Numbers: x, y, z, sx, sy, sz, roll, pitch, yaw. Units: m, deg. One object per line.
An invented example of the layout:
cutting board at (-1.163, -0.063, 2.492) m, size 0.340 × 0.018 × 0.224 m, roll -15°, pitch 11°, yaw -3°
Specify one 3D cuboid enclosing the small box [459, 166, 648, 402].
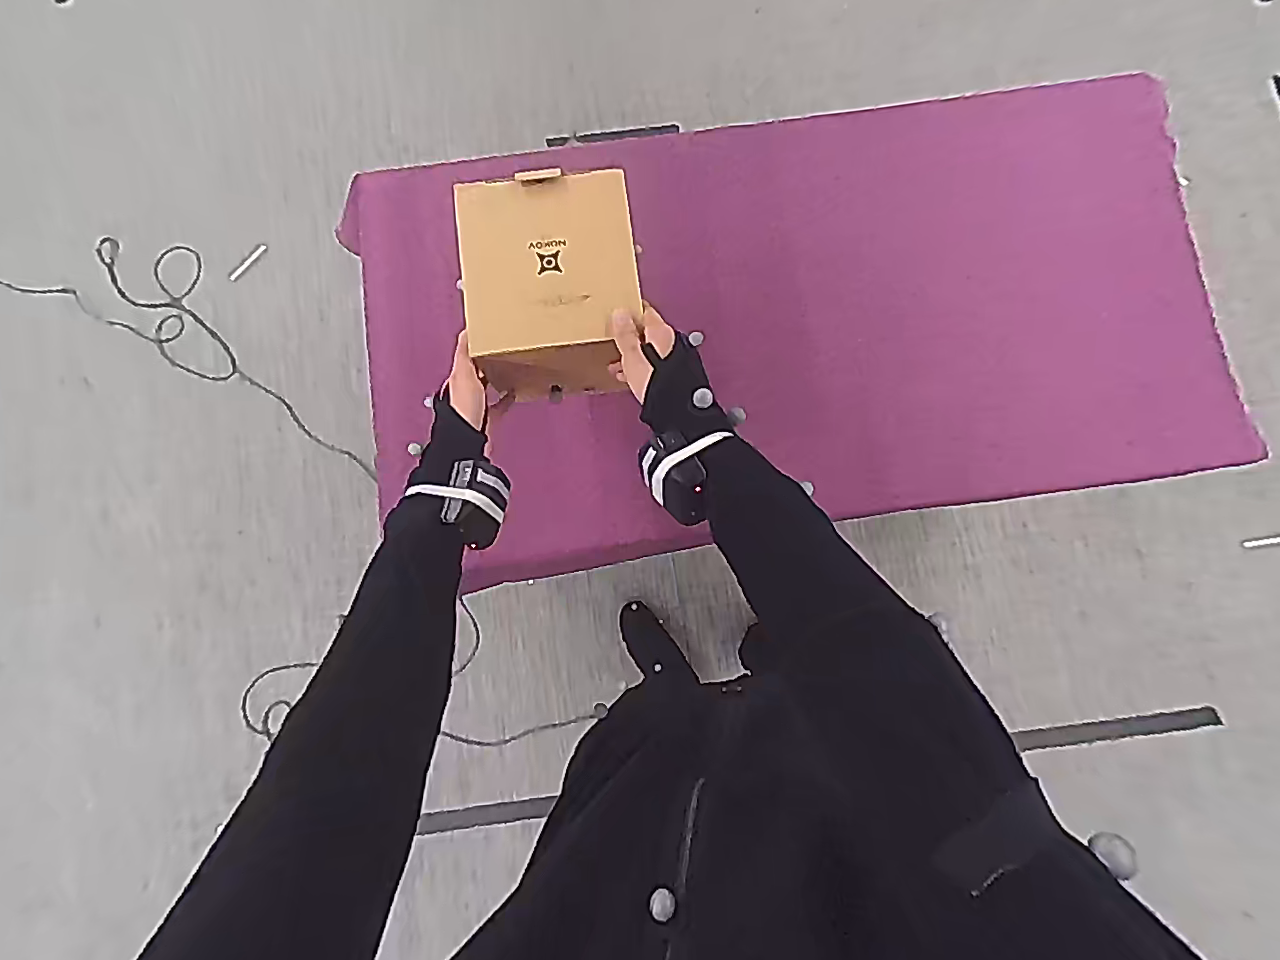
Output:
small box at (-0.085, -0.196, 0.579) m, size 0.168 × 0.176 × 0.179 m, roll -6°, pitch 82°, yaw -3°
